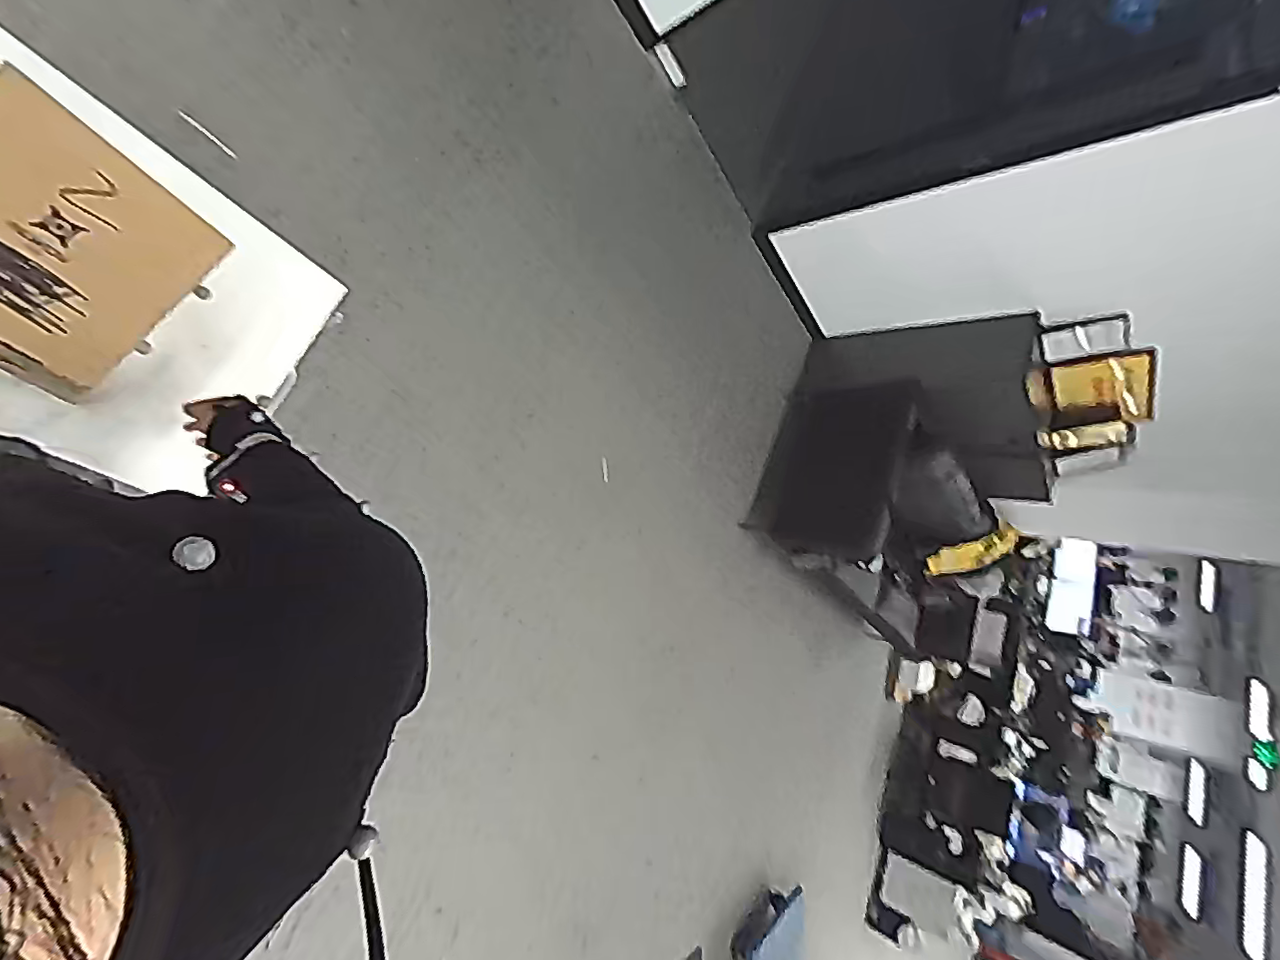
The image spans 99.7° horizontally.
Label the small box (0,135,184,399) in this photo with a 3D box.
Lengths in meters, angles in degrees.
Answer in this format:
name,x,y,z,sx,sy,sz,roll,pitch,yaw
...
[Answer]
name,x,y,z,sx,sy,sz,roll,pitch,yaw
small box,-0.627,-0.202,0.552,0.168,0.176,0.179,43,62,-40
